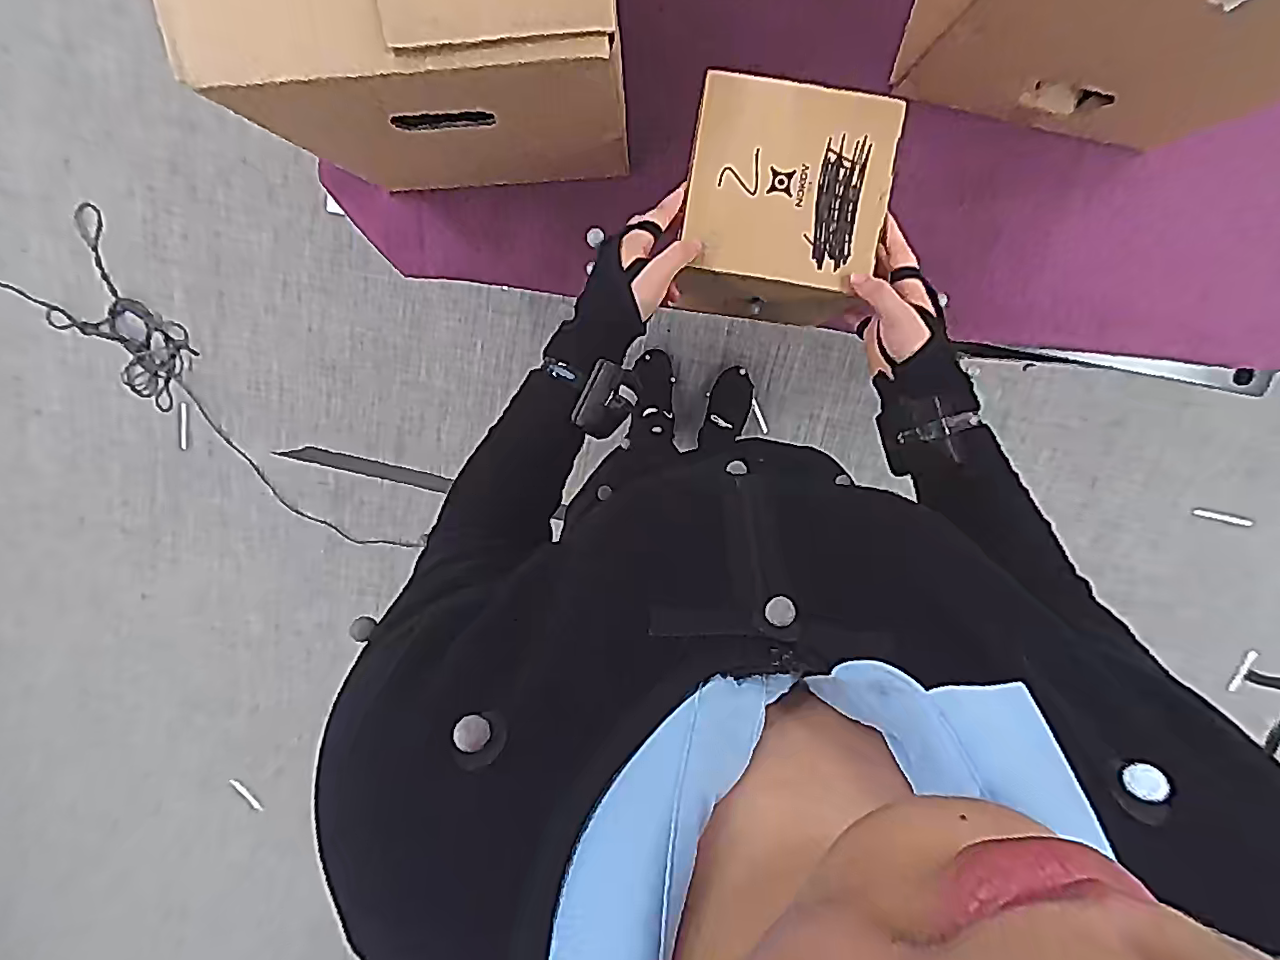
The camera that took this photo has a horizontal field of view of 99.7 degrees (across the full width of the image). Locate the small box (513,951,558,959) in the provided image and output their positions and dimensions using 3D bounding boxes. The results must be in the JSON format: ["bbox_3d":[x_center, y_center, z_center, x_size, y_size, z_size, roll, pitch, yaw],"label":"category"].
[{"bbox_3d":[-0.354,1.680,1.740,0.168,0.176,0.179,10,105,1],"label":"small box"}]
